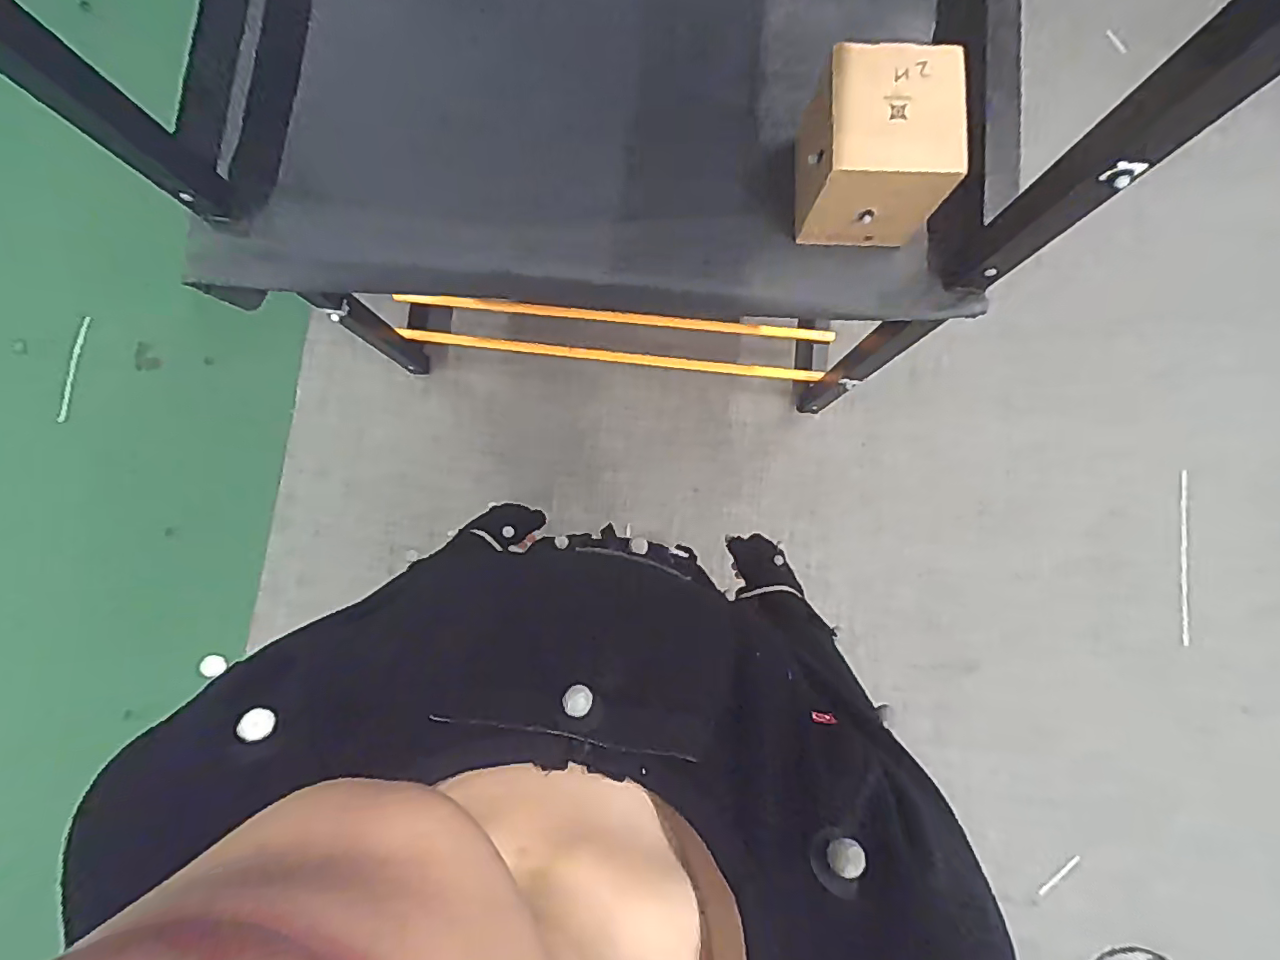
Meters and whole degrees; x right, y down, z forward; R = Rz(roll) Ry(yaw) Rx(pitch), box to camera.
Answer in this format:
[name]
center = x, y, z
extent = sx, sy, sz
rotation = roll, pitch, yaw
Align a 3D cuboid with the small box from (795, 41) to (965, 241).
[small box]
center = 0.319, -0.455, 0.749
extent = 0.168, 0.176, 0.179
rotation = 2, 83, 0
